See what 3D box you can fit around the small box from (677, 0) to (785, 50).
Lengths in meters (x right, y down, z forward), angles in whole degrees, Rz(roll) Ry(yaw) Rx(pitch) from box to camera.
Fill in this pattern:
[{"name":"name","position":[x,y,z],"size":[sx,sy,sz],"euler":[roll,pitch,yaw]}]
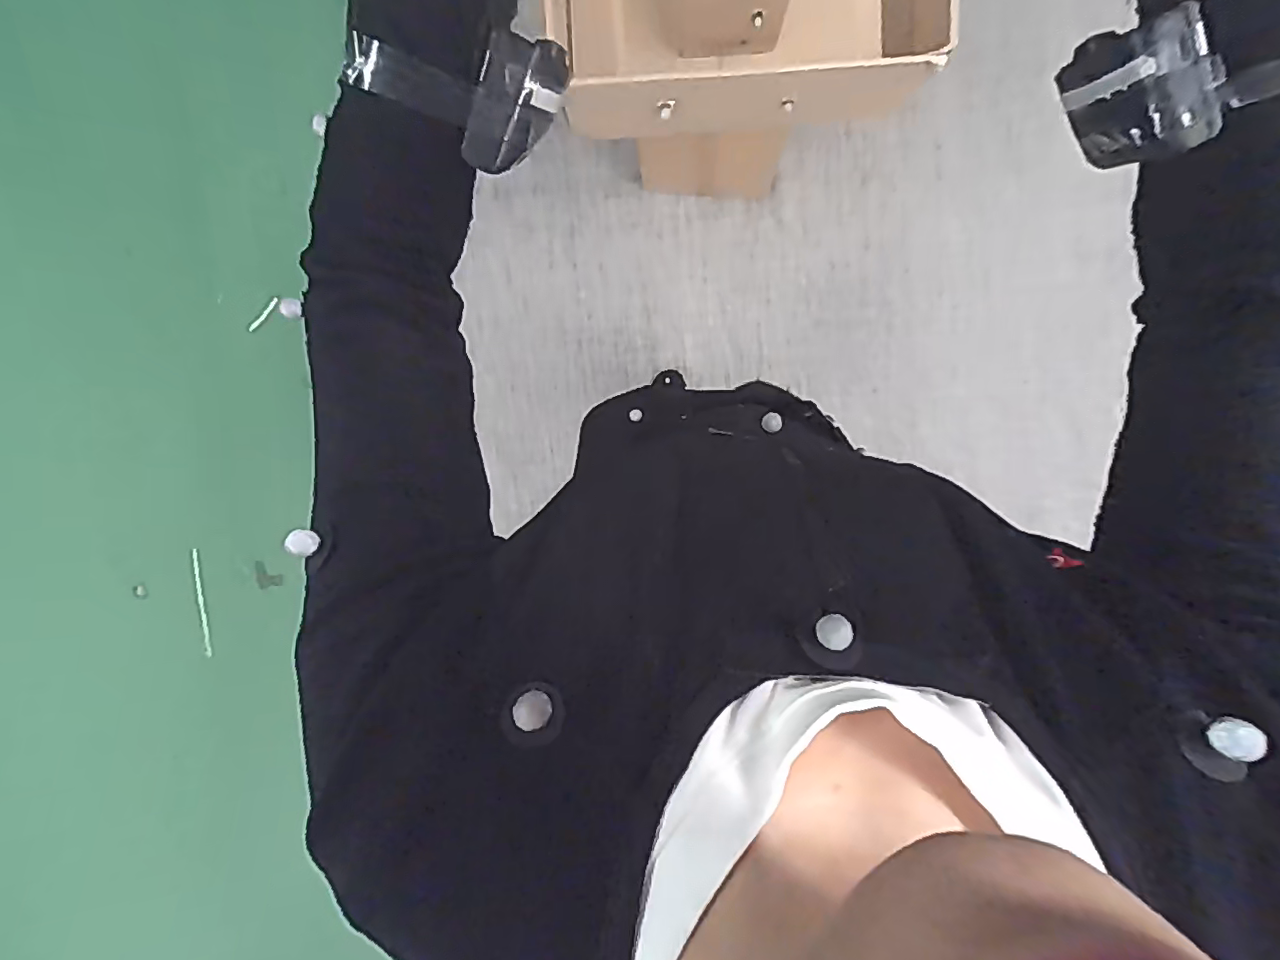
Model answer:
[{"name":"small box","position":[0.146,-0.824,0.857],"size":[0.168,0.176,0.179],"euler":[-3,94,1]}]
